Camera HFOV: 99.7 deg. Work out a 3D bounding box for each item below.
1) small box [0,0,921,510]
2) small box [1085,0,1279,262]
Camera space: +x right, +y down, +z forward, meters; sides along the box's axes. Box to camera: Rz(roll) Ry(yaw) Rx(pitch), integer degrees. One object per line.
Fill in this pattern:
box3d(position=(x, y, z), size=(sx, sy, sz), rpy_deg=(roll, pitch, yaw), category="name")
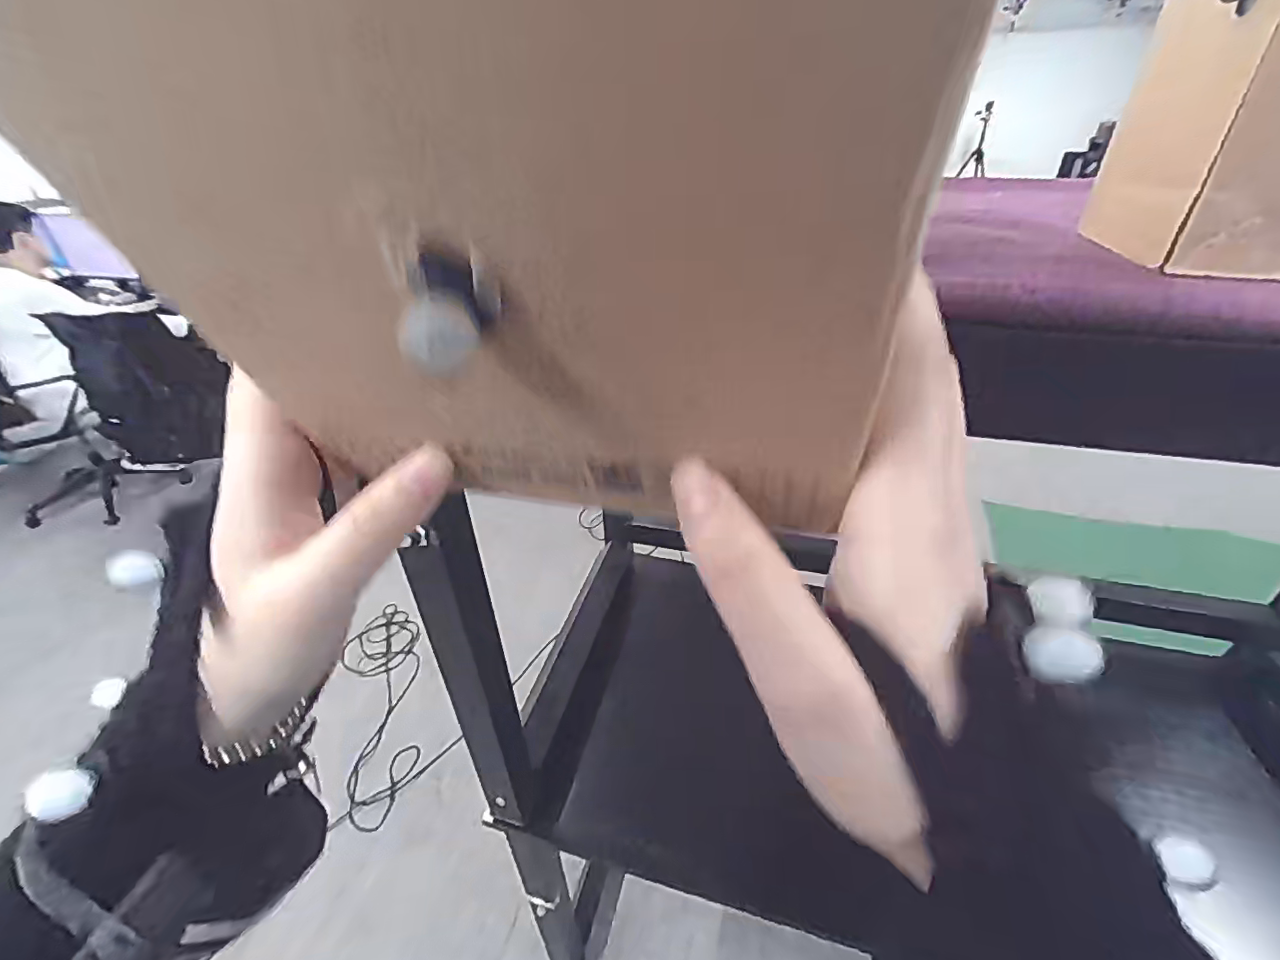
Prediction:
box3d(position=(-0.021, -0.109, 0.148), size=(0.168, 0.176, 0.179), rpy_deg=(6, 59, 16), category="small box")
box3d(position=(0.401, -0.225, 0.309), size=(0.168, 0.176, 0.179), rpy_deg=(10, 35, 18), category="small box")
